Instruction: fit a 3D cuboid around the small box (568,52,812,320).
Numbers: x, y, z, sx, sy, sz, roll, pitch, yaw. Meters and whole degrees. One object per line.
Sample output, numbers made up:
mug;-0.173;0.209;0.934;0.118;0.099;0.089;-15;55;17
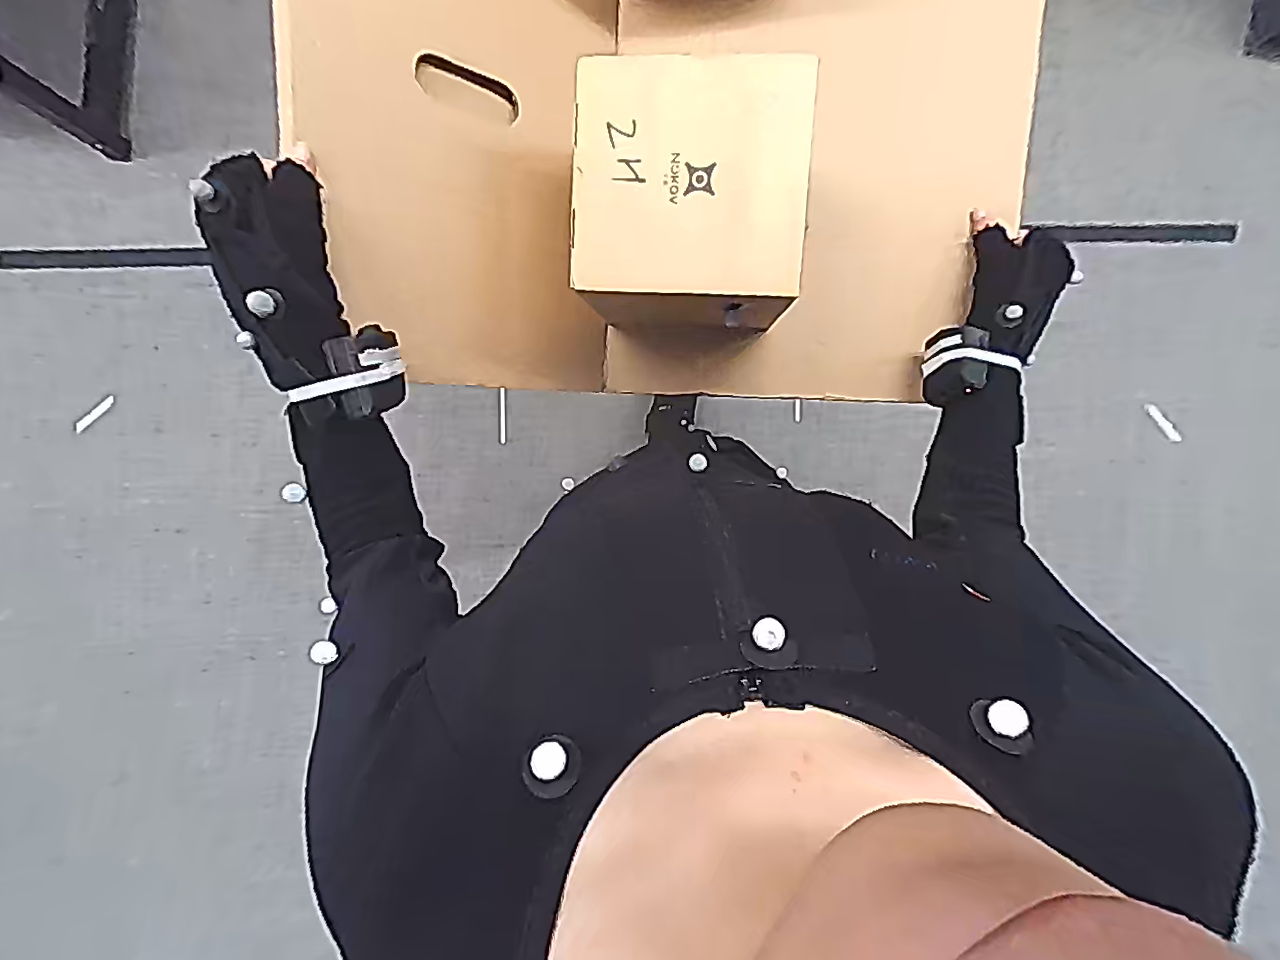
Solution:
small box;0.042;-0.243;0.486;0.179;0.176;0.168;4;98;7
